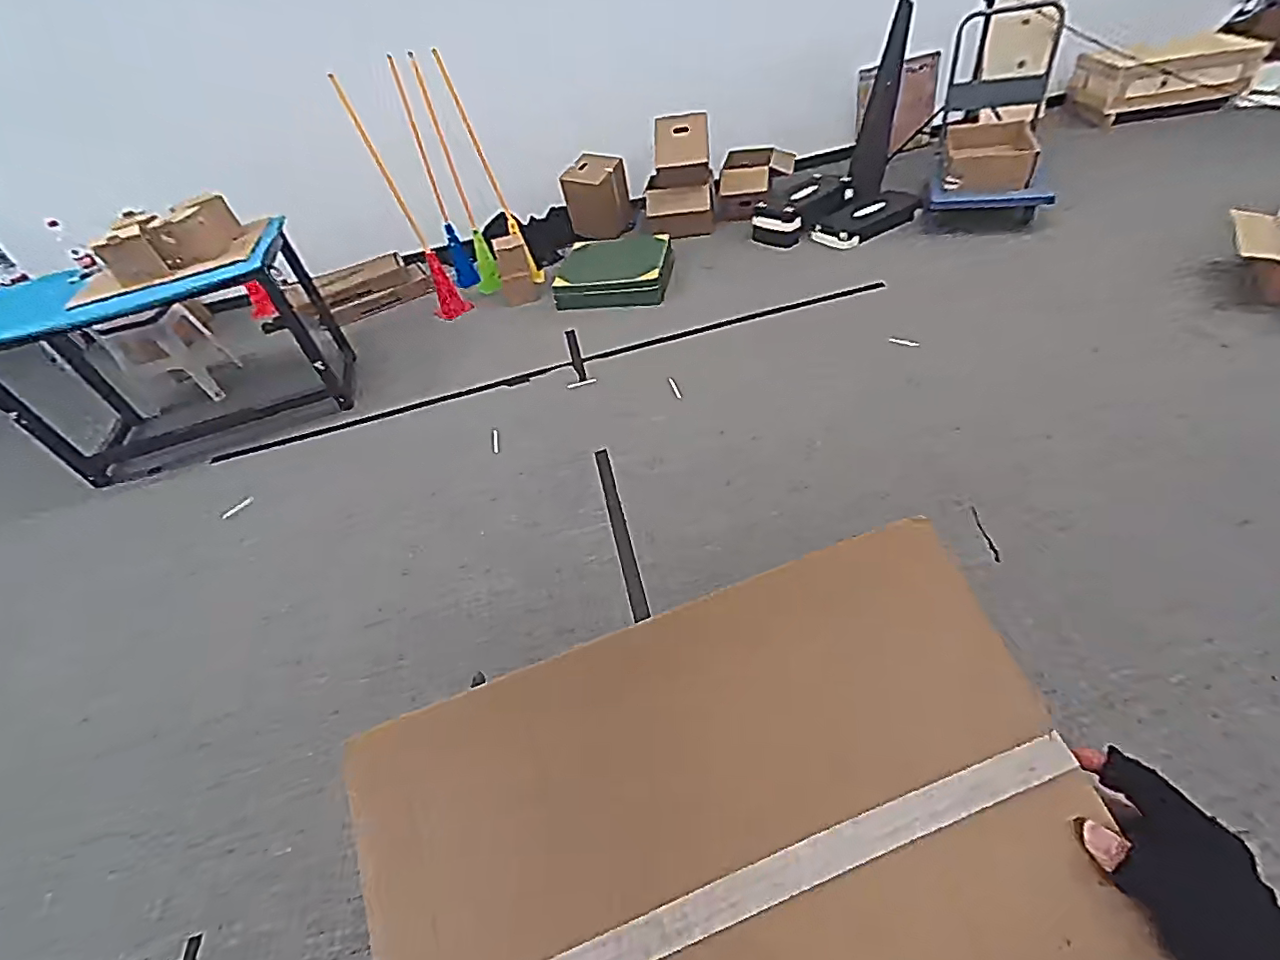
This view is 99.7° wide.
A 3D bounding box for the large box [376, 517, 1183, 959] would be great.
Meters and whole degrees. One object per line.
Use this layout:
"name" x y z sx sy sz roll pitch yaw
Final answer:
"large box" 0.071 0.281 0.454 0.408 0.320 0.320 -21 70 -5
